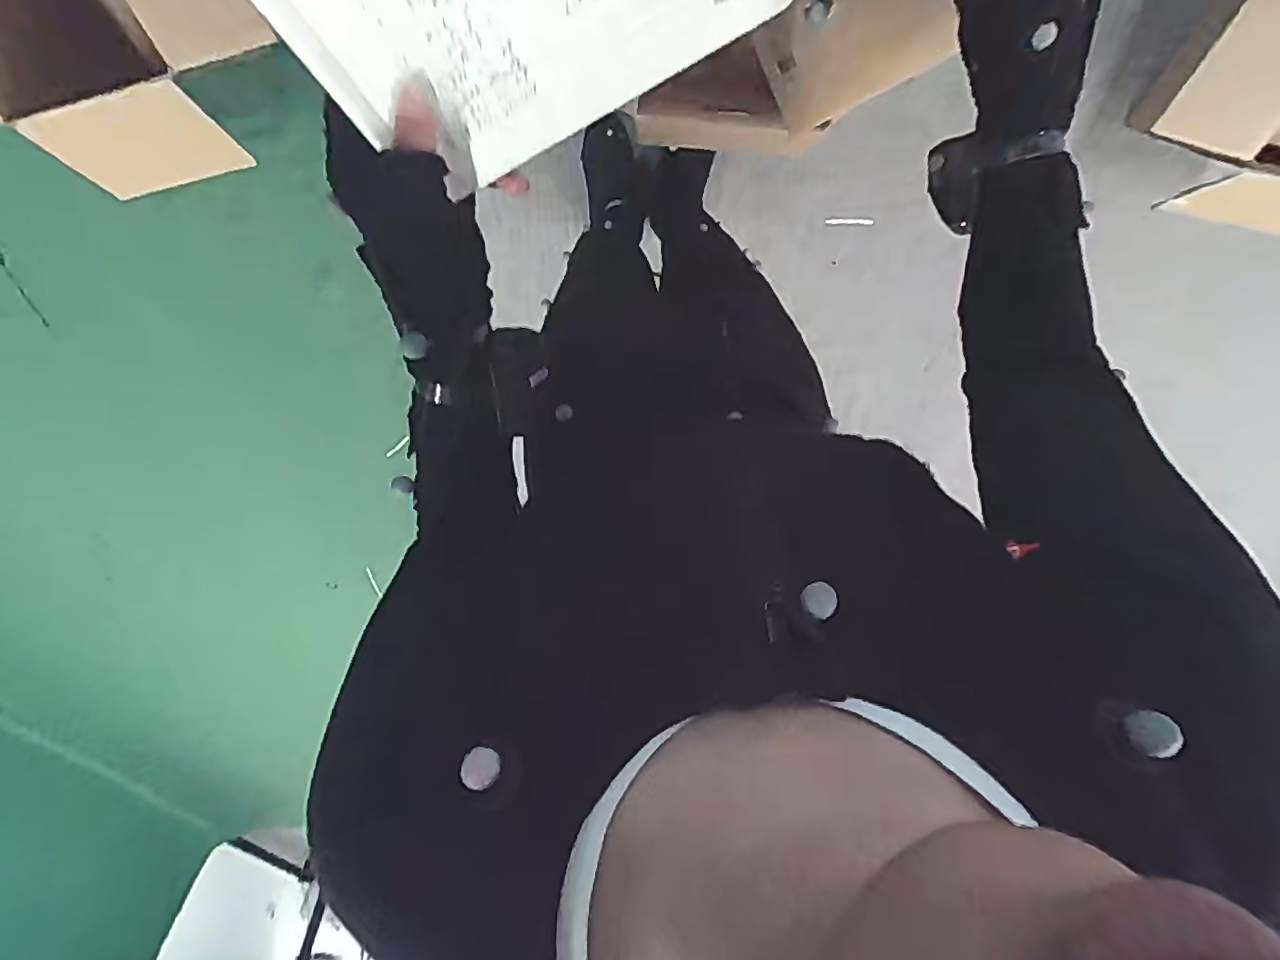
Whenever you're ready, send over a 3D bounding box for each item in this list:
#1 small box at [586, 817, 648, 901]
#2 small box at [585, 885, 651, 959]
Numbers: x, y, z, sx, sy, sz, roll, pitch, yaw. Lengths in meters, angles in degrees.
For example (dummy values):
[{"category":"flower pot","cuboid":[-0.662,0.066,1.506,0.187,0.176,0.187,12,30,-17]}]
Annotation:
[{"category":"small box","cuboid":[-0.068,1.103,1.574,0.168,0.176,0.179,4,130,-3]},{"category":"small box","cuboid":[-0.062,1.208,1.449,0.168,0.176,0.179,4,129,-2]}]
